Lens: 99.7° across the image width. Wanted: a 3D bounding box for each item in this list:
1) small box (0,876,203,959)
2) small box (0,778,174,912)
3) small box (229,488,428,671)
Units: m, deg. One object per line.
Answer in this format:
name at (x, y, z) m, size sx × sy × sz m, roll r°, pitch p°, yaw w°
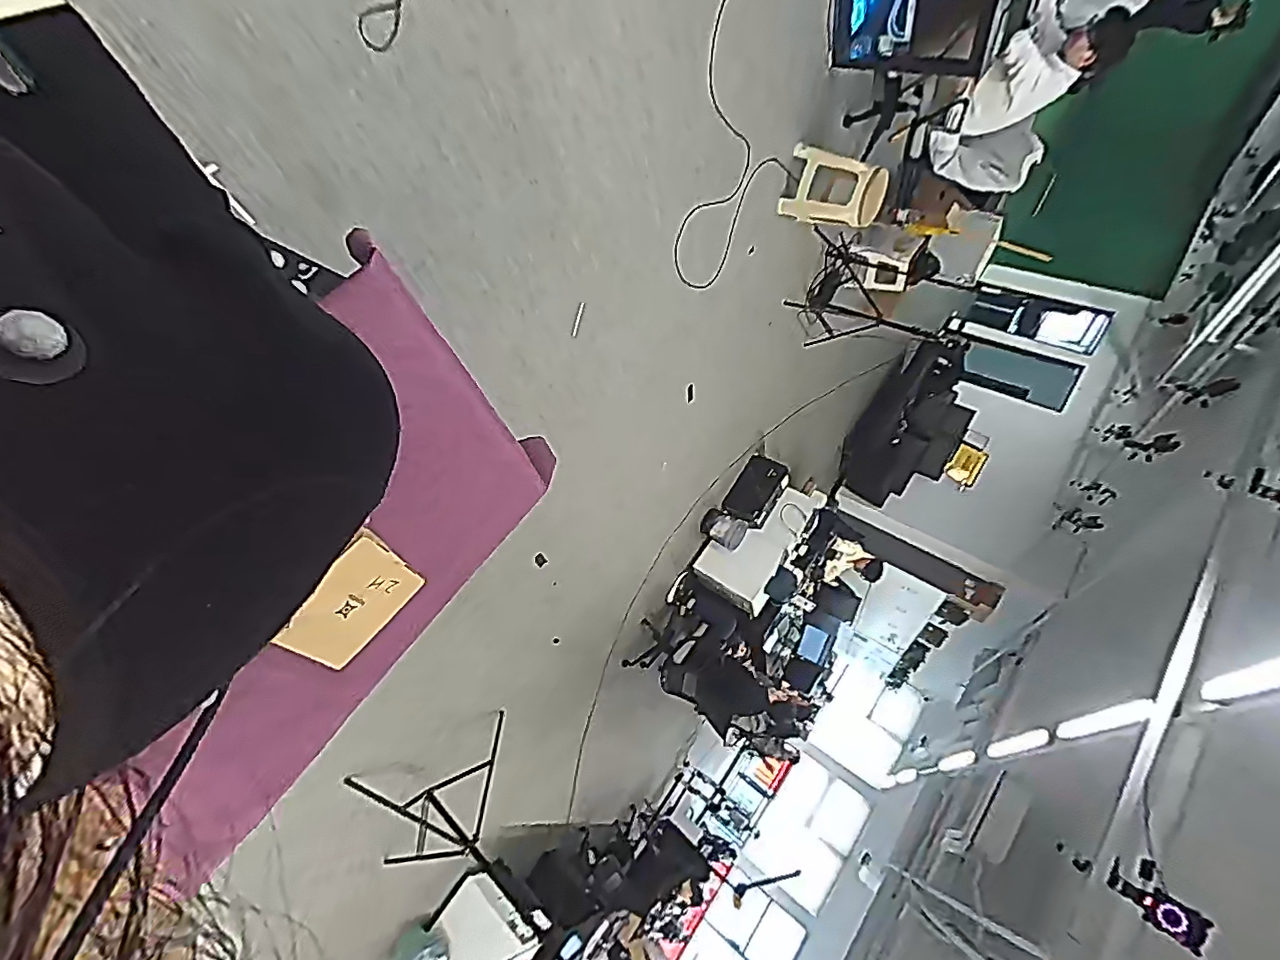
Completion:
small box at (-0.628, 0.569, 0.588) m, size 0.168 × 0.176 × 0.179 m, roll -49°, pitch 150°, yaw -22°
small box at (-0.752, 0.503, 0.671) m, size 0.168 × 0.176 × 0.179 m, roll -50°, pitch 149°, yaw -20°
small box at (-0.468, 0.146, 0.812) m, size 0.179 × 0.176 × 0.168 m, roll -50°, pitch 150°, yaw -20°
